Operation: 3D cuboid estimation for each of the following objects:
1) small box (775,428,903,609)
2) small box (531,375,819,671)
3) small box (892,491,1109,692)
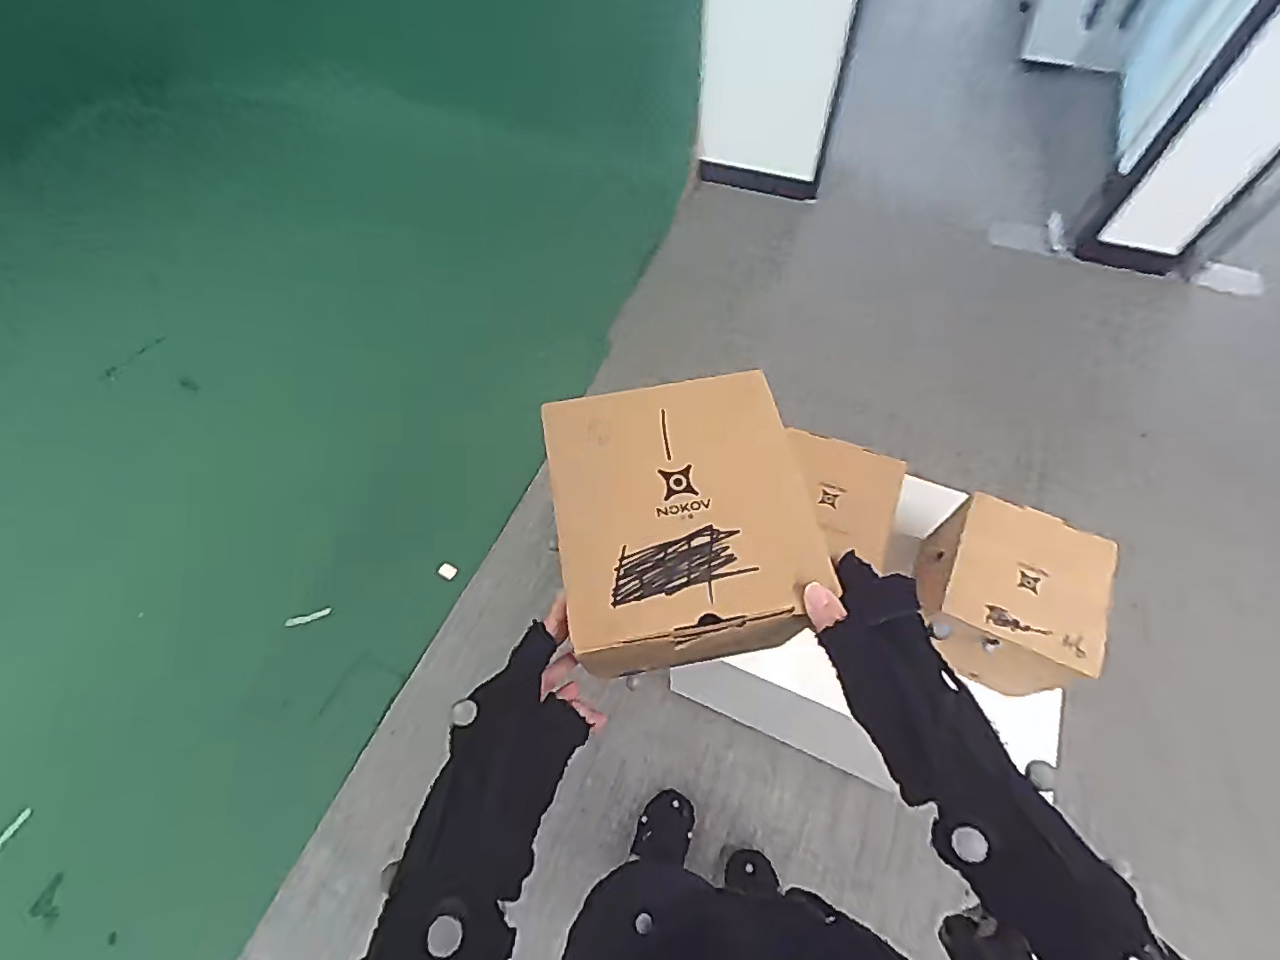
[{"bbox_3d":[0.247,0.060,0.770,0.168,0.176,0.179,19,66,14],"label":"small box"},{"bbox_3d":[0.018,0.047,0.432,0.168,0.176,0.179,-11,64,-4],"label":"small box"},{"bbox_3d":[0.456,0.150,0.705,0.168,0.176,0.179,24,65,16],"label":"small box"}]
